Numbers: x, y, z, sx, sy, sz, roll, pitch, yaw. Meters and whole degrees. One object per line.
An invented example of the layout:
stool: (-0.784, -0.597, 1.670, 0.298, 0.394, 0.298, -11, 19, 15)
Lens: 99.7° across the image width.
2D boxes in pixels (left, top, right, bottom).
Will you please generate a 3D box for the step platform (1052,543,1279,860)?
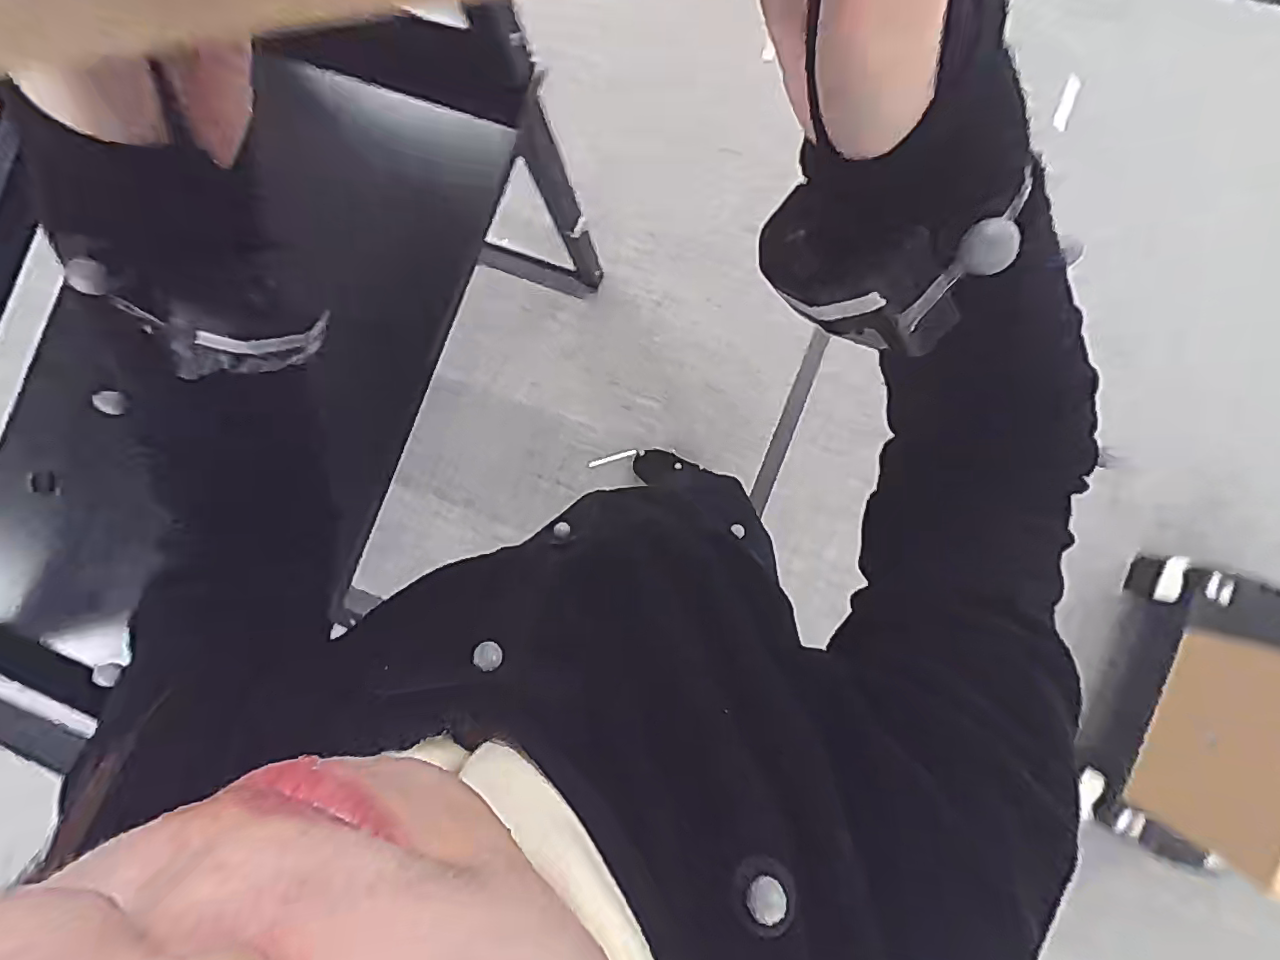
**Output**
step platform: (1.302, 0.501, 1.276, 0.286, 0.204, 0.684, 26, 89, 5)

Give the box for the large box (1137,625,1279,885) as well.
large box: (1.282, 0.548, 1.036, 0.320, 0.320, 0.408, 20, 88, 4)
